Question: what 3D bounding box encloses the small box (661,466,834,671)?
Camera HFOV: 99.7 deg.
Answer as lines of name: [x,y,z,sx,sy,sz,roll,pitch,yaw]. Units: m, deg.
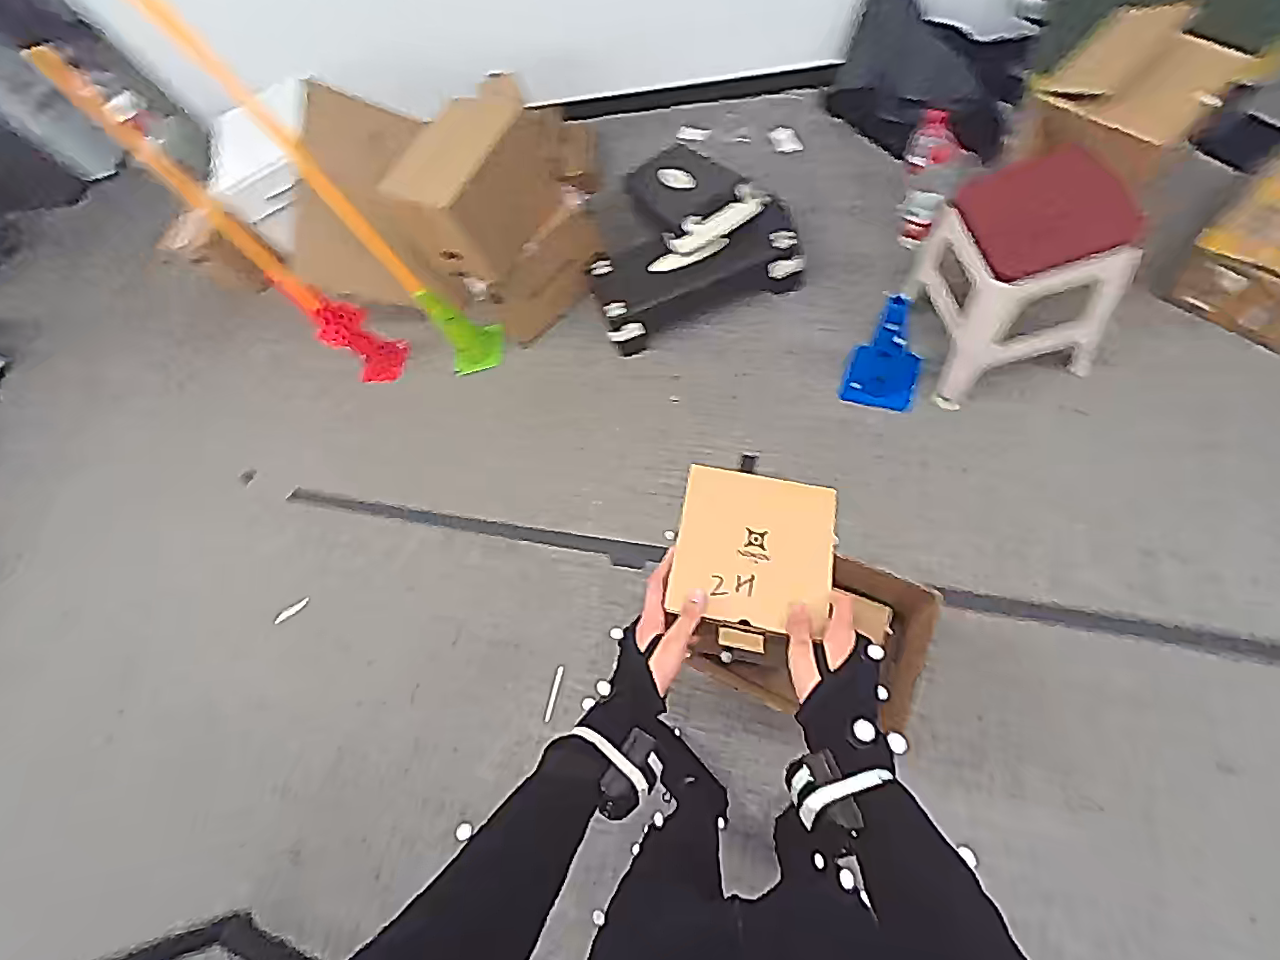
small box: [0.119,0.109,0.637,0.168,0.176,0.179,10,63,7]
